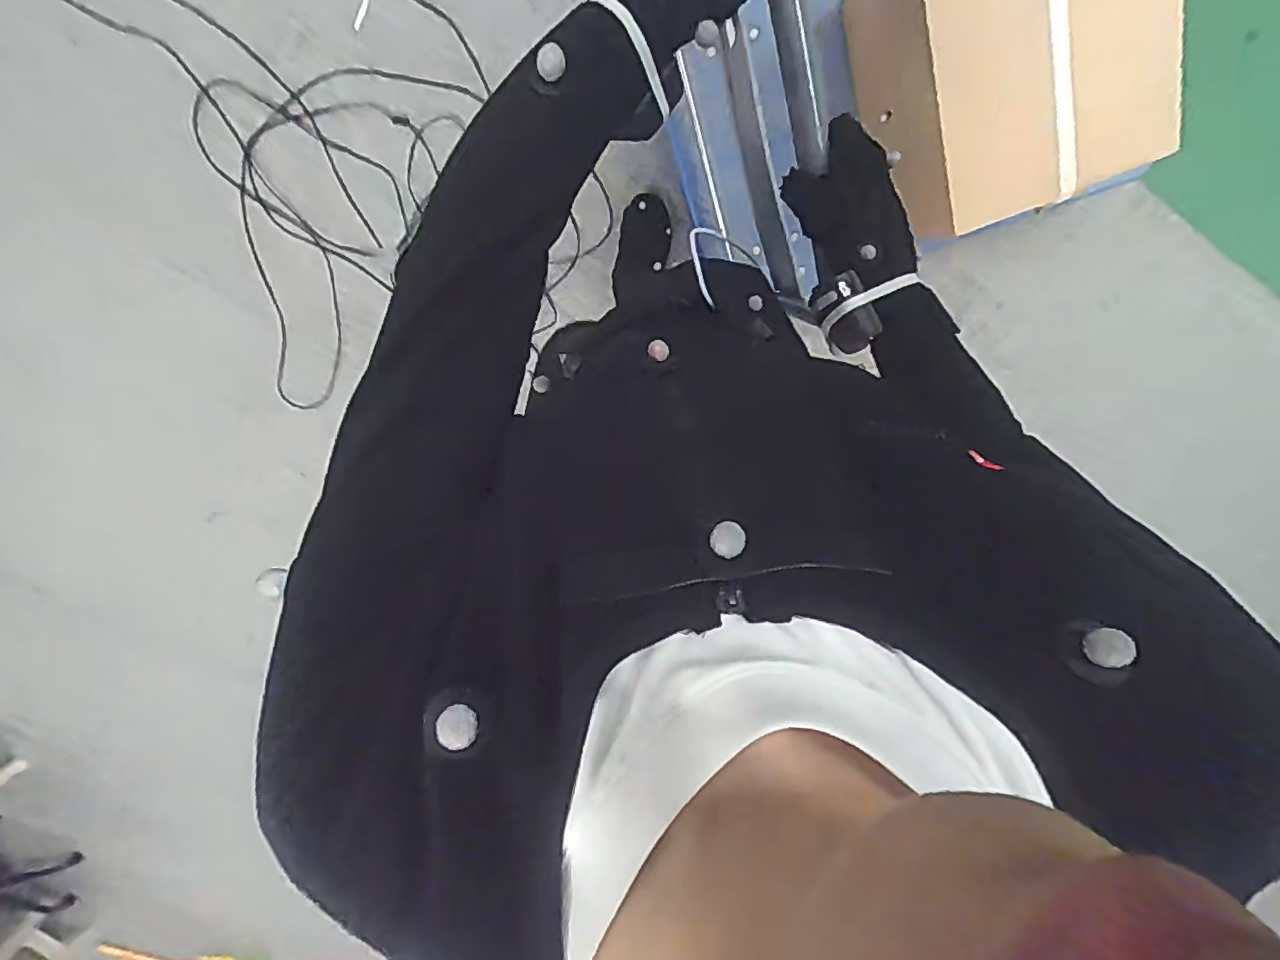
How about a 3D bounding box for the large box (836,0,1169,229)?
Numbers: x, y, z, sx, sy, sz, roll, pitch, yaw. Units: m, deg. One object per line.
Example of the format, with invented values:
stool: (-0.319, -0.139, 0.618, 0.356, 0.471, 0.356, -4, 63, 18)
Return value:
large box: (0.551, -0.668, 0.868, 0.320, 0.320, 0.408, -19, 112, 9)
